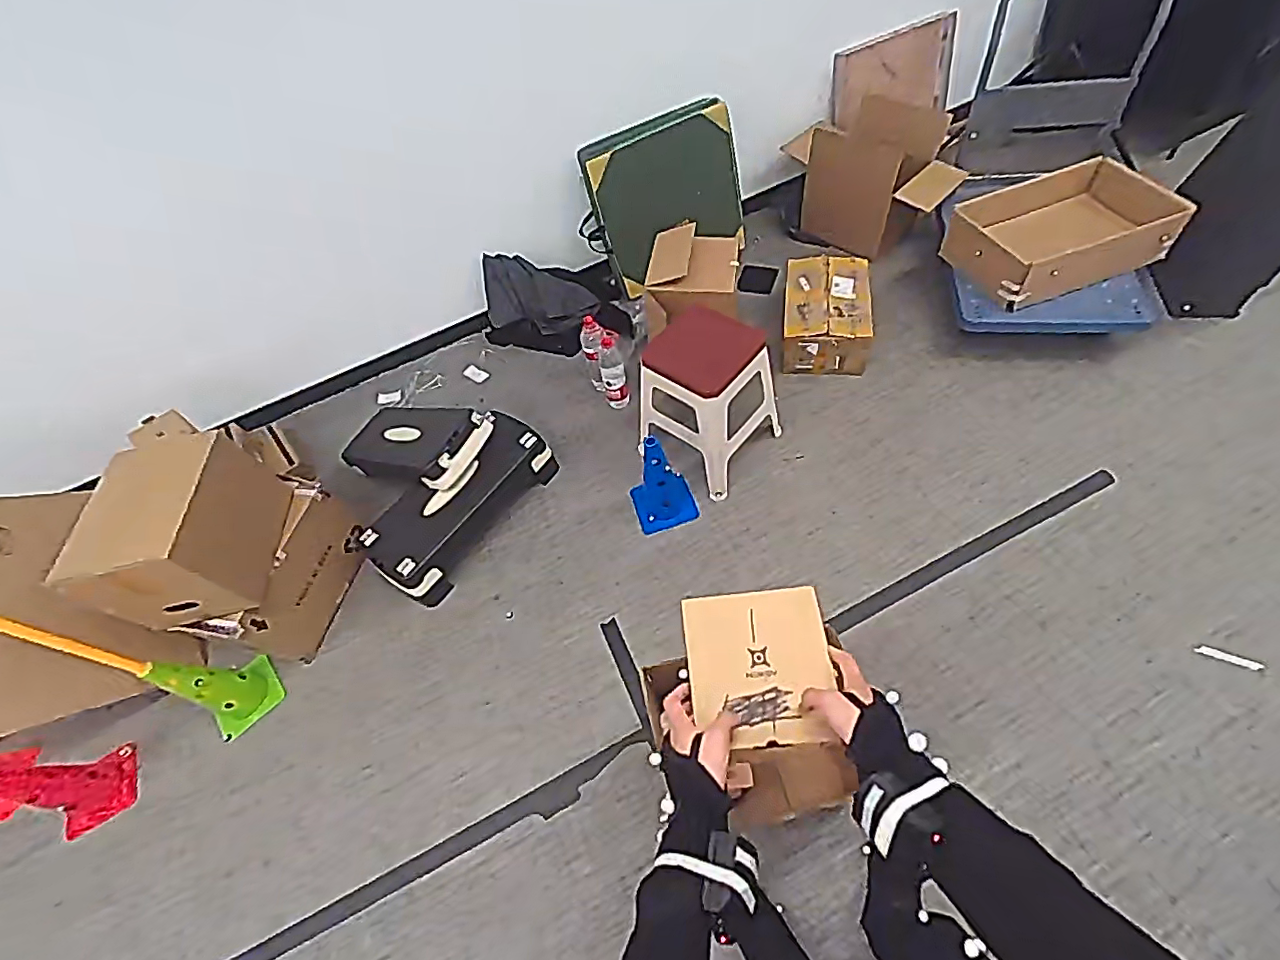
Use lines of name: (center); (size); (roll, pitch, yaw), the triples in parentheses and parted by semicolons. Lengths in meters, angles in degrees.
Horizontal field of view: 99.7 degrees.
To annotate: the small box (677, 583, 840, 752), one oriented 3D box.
small box: (0.143, 0.247, 0.699); (0.168, 0.176, 0.179); (-7, 62, 4)
